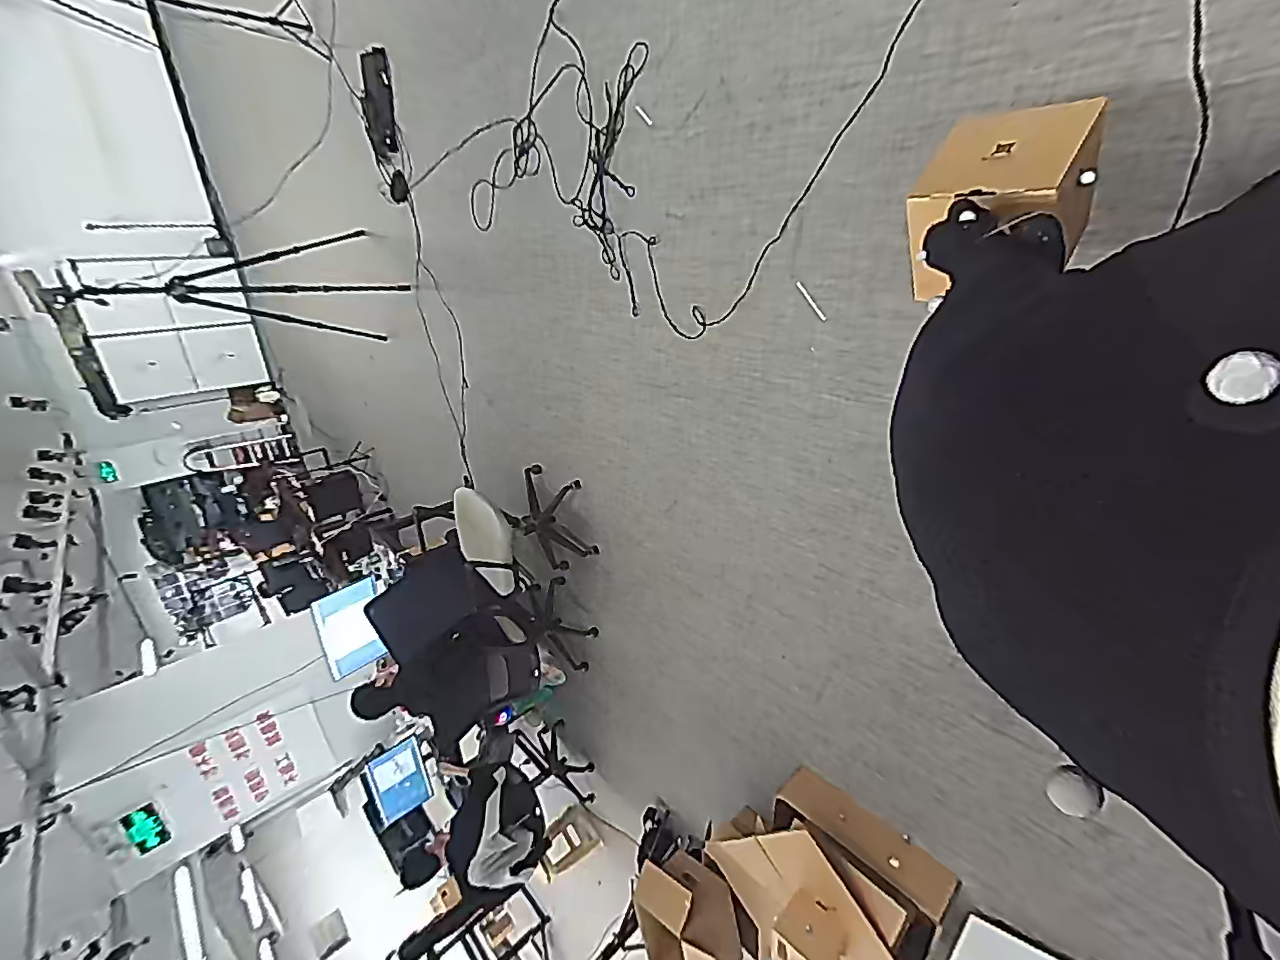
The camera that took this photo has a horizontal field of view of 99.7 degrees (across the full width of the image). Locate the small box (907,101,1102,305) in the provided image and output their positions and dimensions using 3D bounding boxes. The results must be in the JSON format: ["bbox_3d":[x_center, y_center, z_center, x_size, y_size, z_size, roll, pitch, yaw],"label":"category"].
[{"bbox_3d":[0.487,-0.367,0.736,0.168,0.179,0.176,21,159,41],"label":"small box"}]
